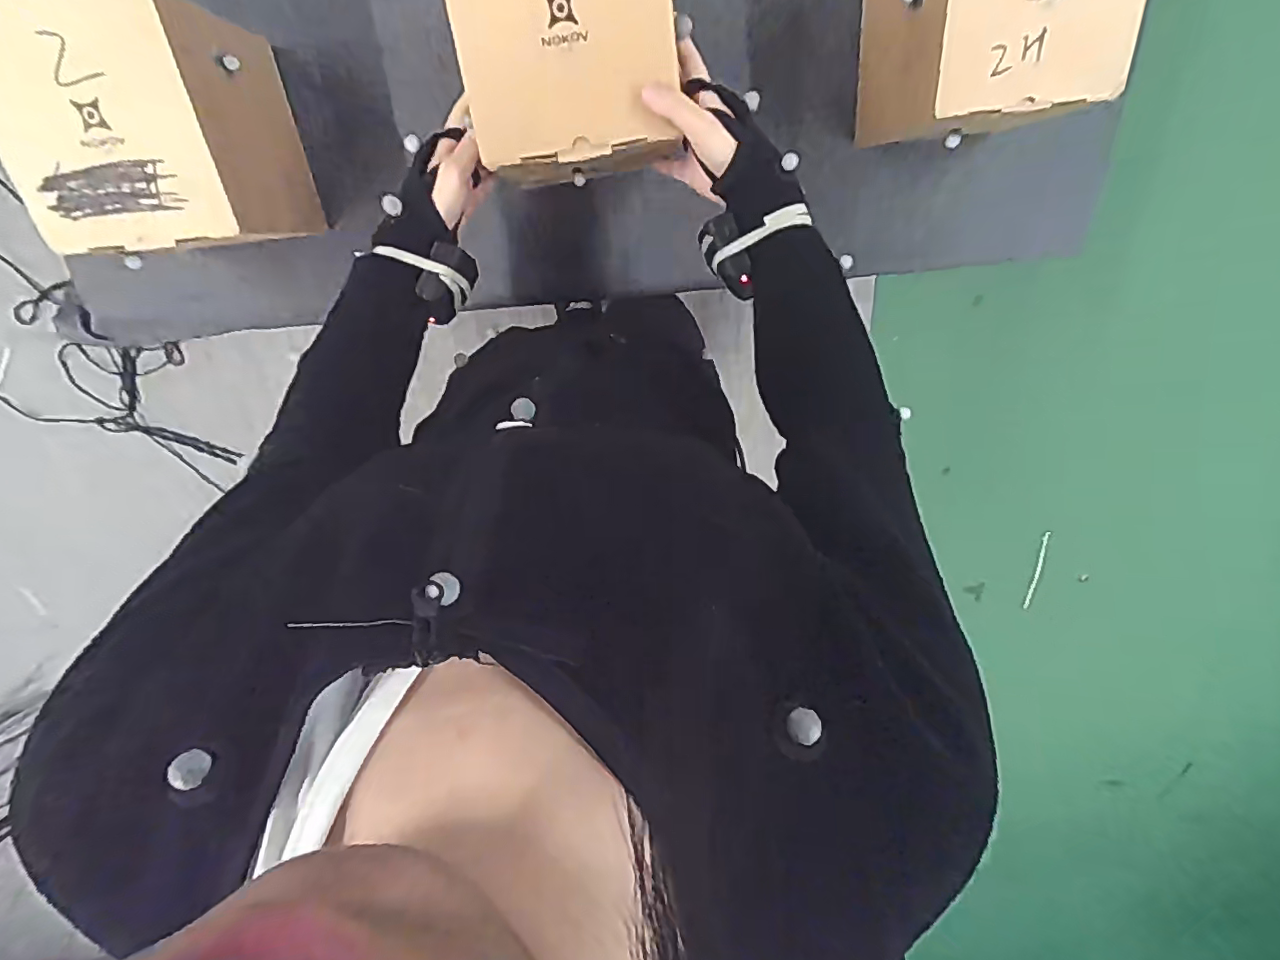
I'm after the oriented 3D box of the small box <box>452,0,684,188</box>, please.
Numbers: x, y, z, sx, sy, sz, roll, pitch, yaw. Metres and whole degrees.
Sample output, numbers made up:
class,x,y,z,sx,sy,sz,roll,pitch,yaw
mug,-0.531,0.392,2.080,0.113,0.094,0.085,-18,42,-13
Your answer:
class,x,y,z,sx,sy,sz,roll,pitch,yaw
small box,-0.057,-0.377,0.481,0.168,0.176,0.179,-8,114,4

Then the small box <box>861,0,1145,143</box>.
class,x,y,z,sx,sy,sz,roll,pitch,yaw
small box,0.320,-0.433,0.499,0.168,0.176,0.179,-6,115,1
